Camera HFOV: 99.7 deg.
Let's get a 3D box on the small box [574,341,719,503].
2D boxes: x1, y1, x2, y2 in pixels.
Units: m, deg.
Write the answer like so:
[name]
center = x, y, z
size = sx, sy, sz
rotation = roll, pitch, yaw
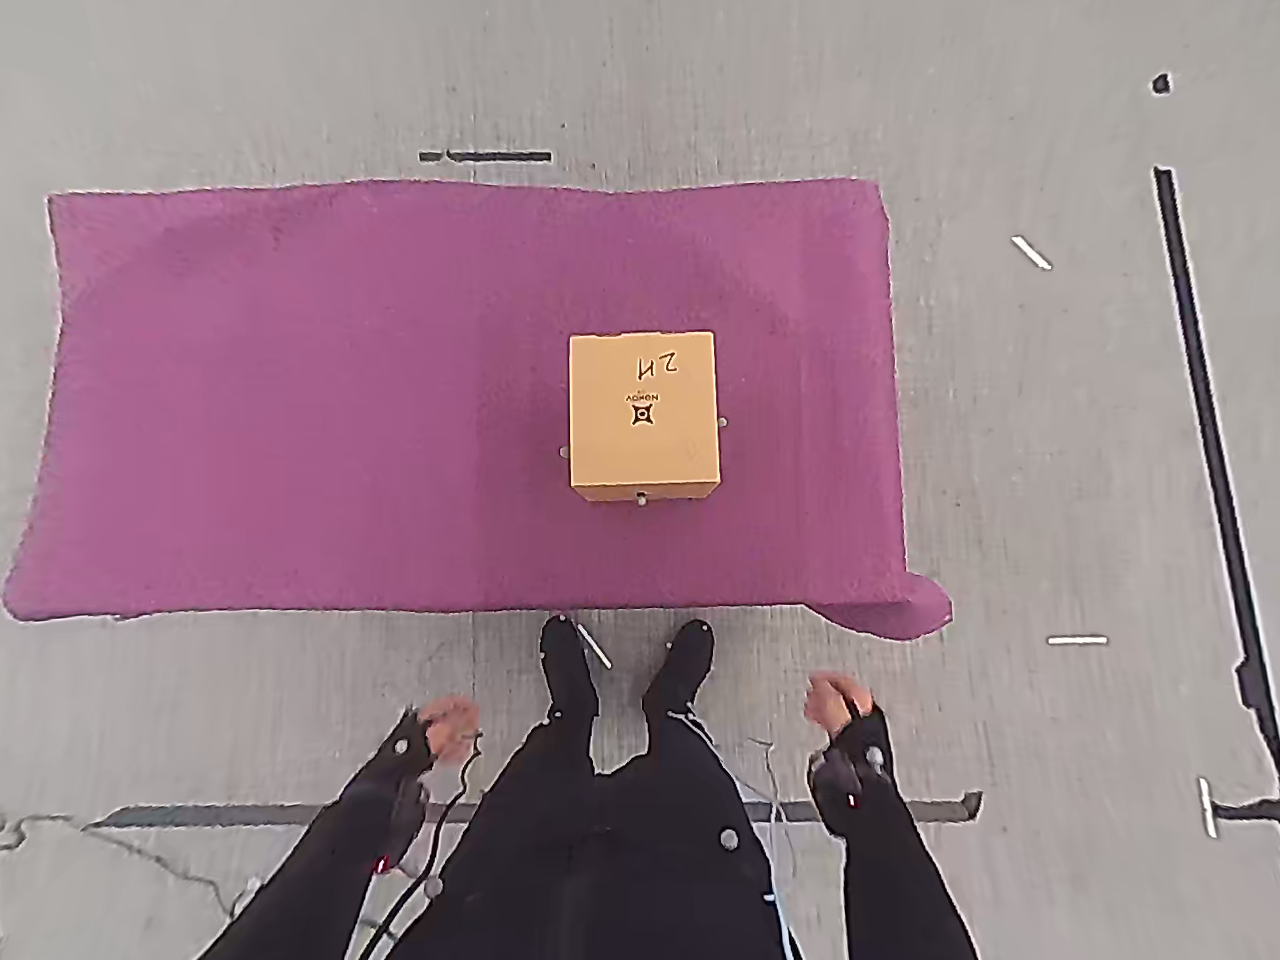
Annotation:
[small box]
center = 0.010, -0.063, 0.688
size = 0.168, 0.176, 0.179
rotation = -1, 82, 1
